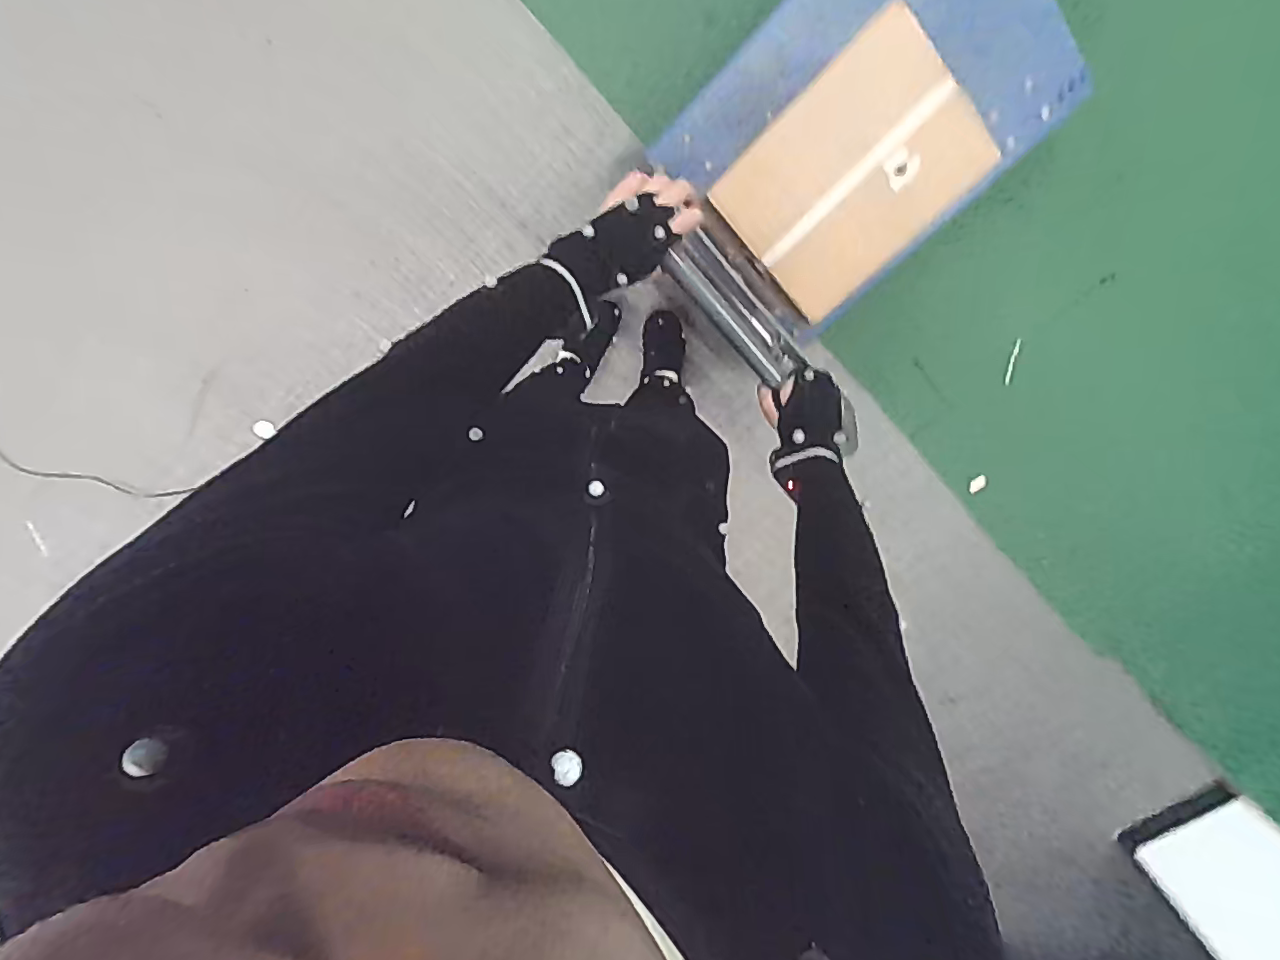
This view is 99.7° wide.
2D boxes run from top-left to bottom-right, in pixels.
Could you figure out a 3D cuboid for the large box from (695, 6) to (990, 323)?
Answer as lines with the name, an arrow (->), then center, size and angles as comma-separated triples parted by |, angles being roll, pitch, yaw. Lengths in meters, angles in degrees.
large box -> 0.365, -0.580, 1.086 | 0.408, 0.320, 0.320 | -41, 107, 15
